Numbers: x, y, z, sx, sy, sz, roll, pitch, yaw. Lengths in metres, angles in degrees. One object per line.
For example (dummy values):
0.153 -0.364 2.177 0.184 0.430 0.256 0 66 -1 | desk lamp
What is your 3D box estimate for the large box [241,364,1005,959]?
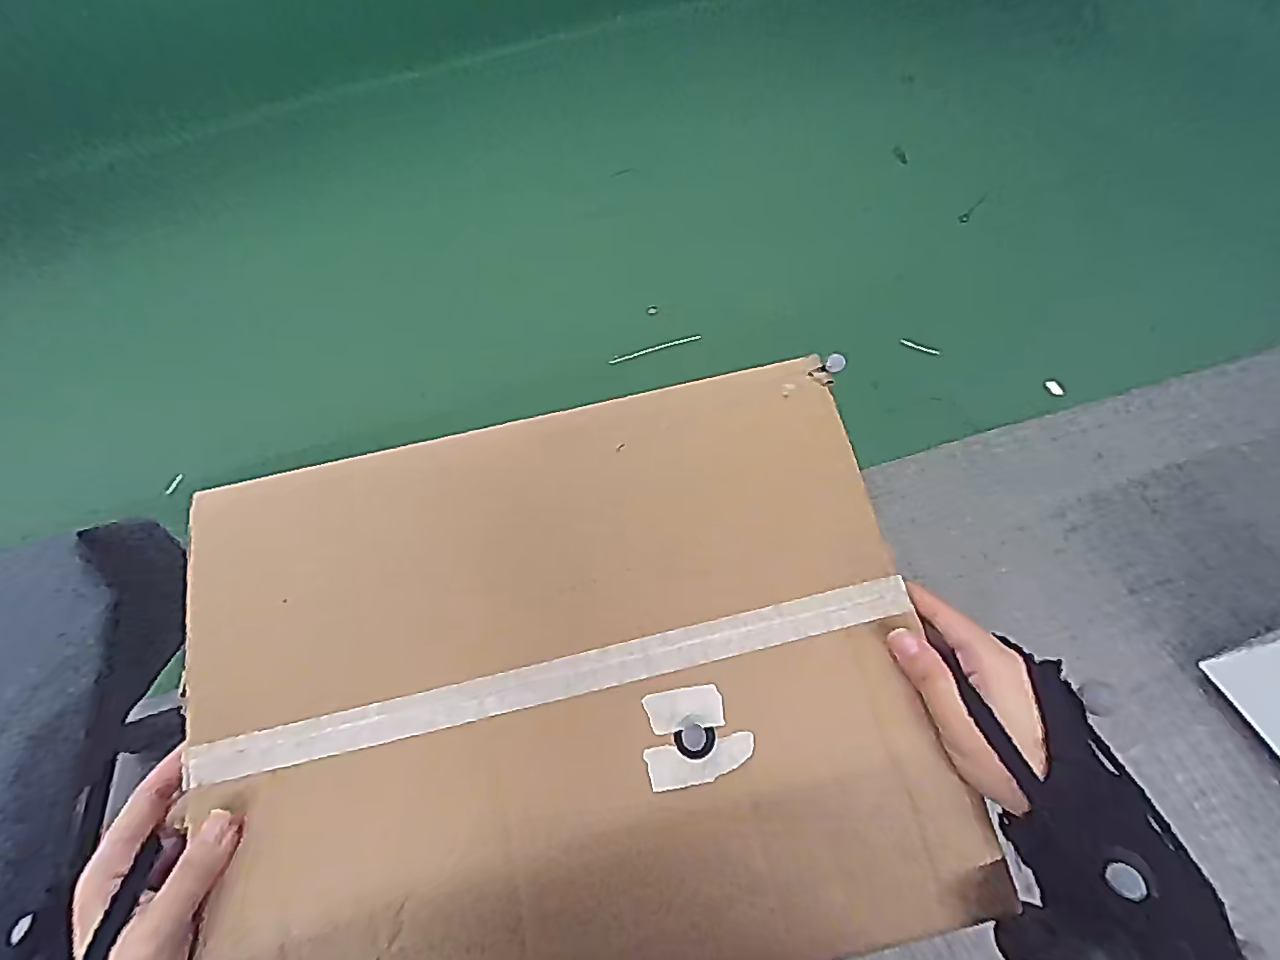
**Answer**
-0.031 0.150 0.458 0.408 0.320 0.320 -13 74 -3 | large box
